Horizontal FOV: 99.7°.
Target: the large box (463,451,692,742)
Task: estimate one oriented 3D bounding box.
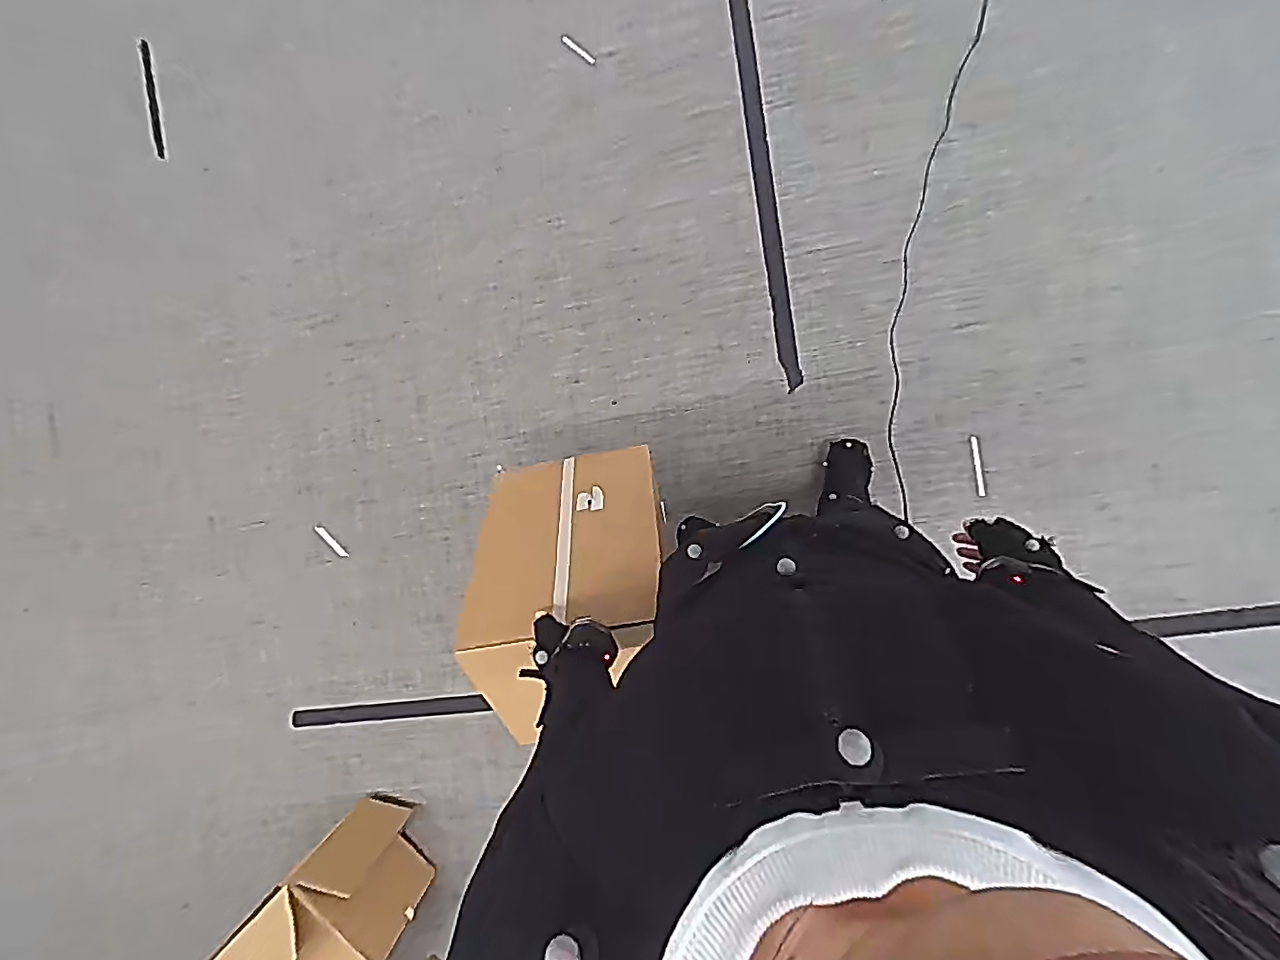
[{"bbox_3d":[-0.095,0.206,1.009,0.320,0.408,0.320,-9,129,3],"label":"large box"}]
